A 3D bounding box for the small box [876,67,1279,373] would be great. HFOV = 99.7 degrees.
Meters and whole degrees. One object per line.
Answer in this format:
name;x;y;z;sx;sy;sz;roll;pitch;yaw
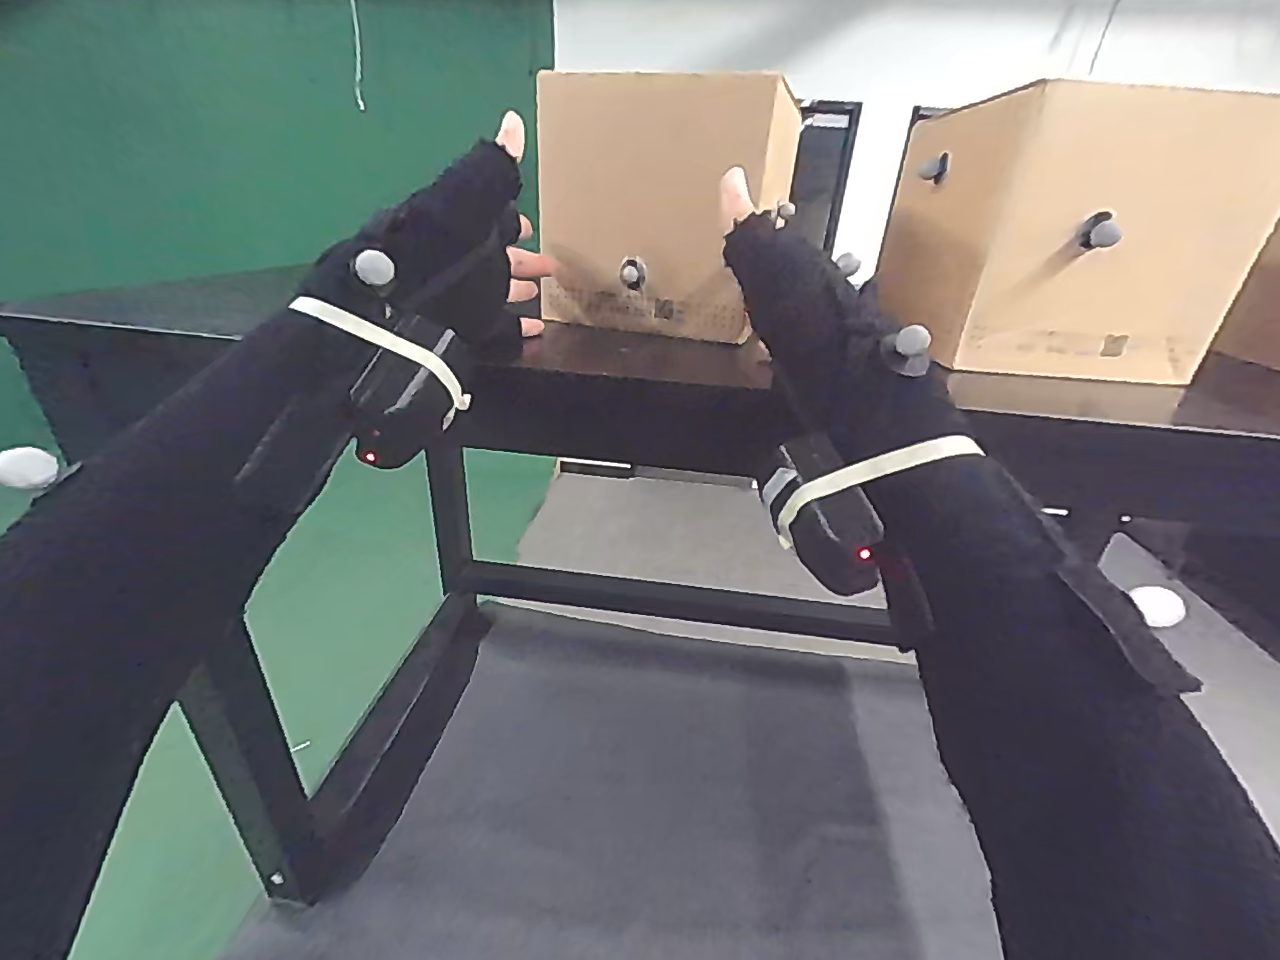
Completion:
small box;0.301;-0.183;0.403;0.168;0.176;0.179;4;26;0
